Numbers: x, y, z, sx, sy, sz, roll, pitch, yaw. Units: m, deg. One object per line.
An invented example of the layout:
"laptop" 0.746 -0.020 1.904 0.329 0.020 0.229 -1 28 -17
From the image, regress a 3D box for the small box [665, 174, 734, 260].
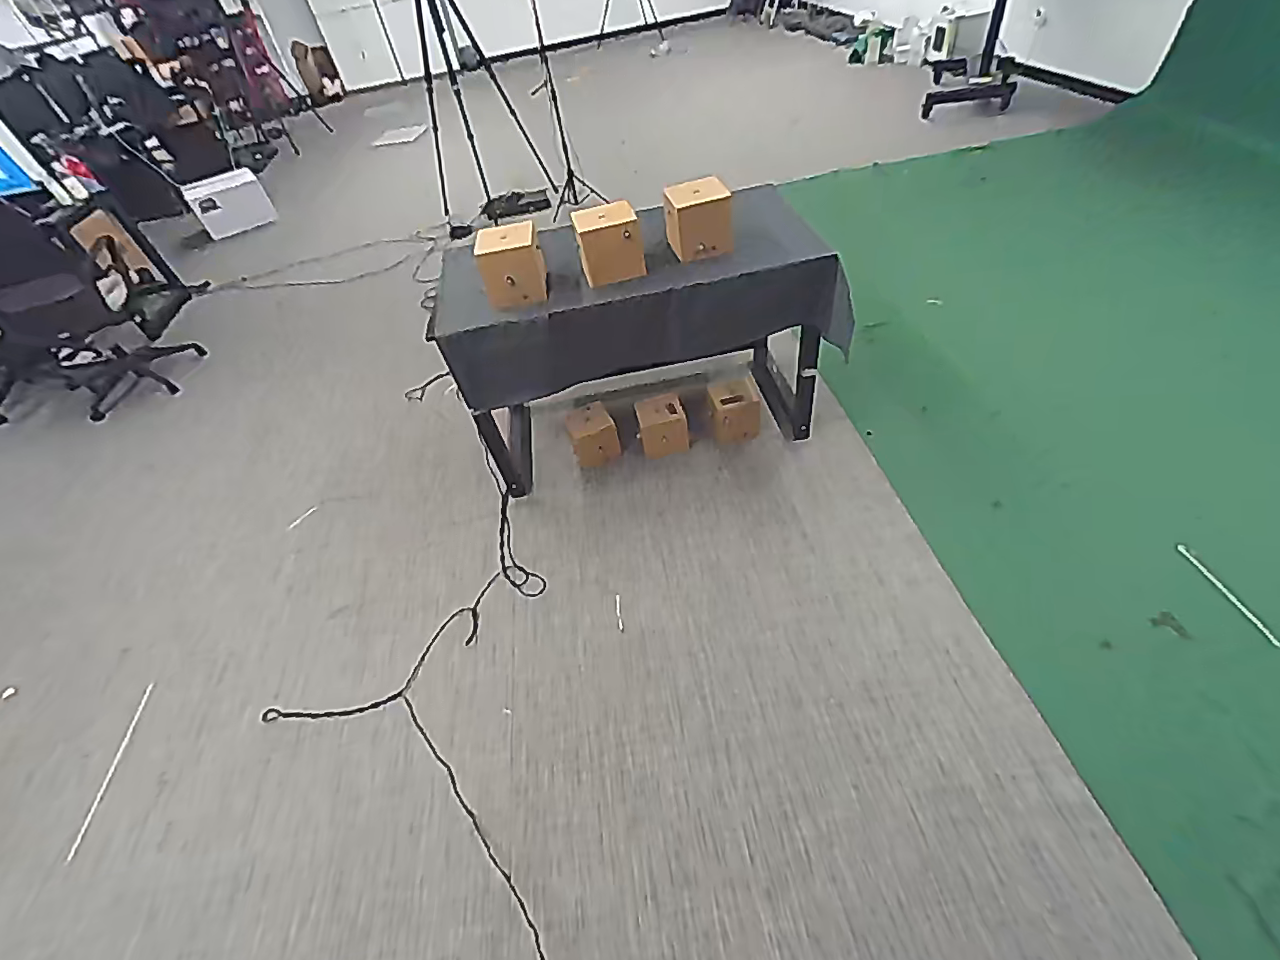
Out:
"small box" 0.179 -0.788 1.626 0.168 0.176 0.179 -14 47 -1

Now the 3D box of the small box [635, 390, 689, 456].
"small box" 0.089 -0.220 2.116 0.179 0.176 0.168 -14 47 -1

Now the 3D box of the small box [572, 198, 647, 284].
"small box" -0.089 -0.703 1.599 0.179 0.176 0.168 -15 47 -3

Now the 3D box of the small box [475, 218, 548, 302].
"small box" -0.372 -0.639 1.590 0.168 0.176 0.179 -10 47 1
